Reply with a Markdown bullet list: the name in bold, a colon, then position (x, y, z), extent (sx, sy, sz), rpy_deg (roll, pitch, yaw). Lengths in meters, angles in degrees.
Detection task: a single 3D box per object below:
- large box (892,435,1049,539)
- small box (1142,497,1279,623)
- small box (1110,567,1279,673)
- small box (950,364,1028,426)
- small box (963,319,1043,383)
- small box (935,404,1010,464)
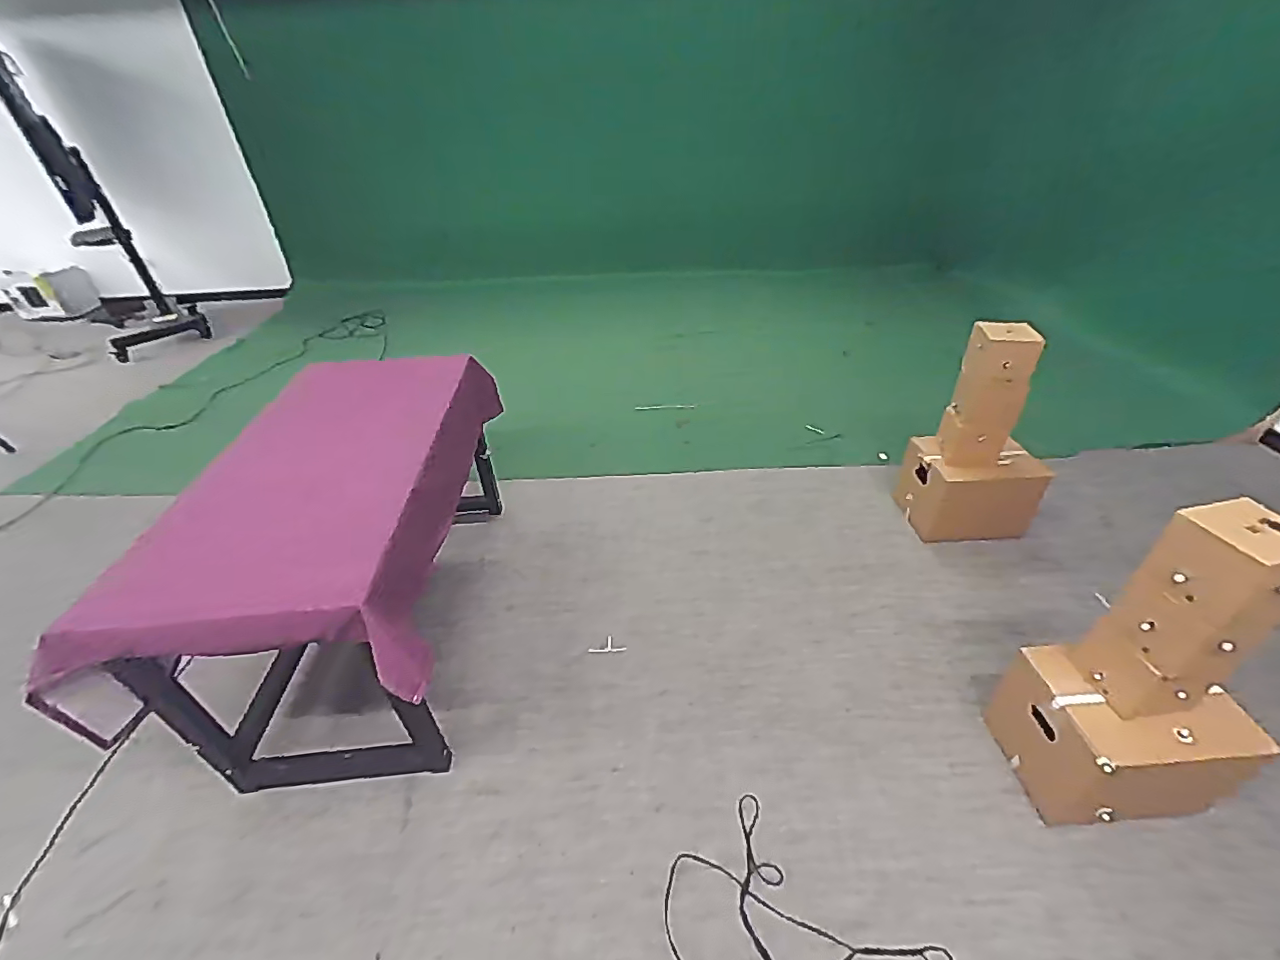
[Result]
- **large box**: position (1.318, 0.020, 2.203), extent (0.408, 0.320, 0.320), rpy_deg (-2, 37, -2)
- **small box**: position (1.173, 0.159, 1.074), extent (0.179, 0.176, 0.168), rpy_deg (-9, 36, -8)
- **small box**: position (1.177, 0.293, 1.170), extent (0.179, 0.176, 0.168), rpy_deg (-9, 36, -7)
- **small box**: position (1.264, -0.310, 1.970), extent (0.179, 0.176, 0.168), rpy_deg (5, 36, 11)
- **small box**: position (1.254, -0.447, 1.880), extent (0.168, 0.176, 0.179), rpy_deg (6, 37, 11)
- **small box**: position (1.259, -0.176, 2.063), extent (0.179, 0.176, 0.168), rpy_deg (3, 37, 8)
